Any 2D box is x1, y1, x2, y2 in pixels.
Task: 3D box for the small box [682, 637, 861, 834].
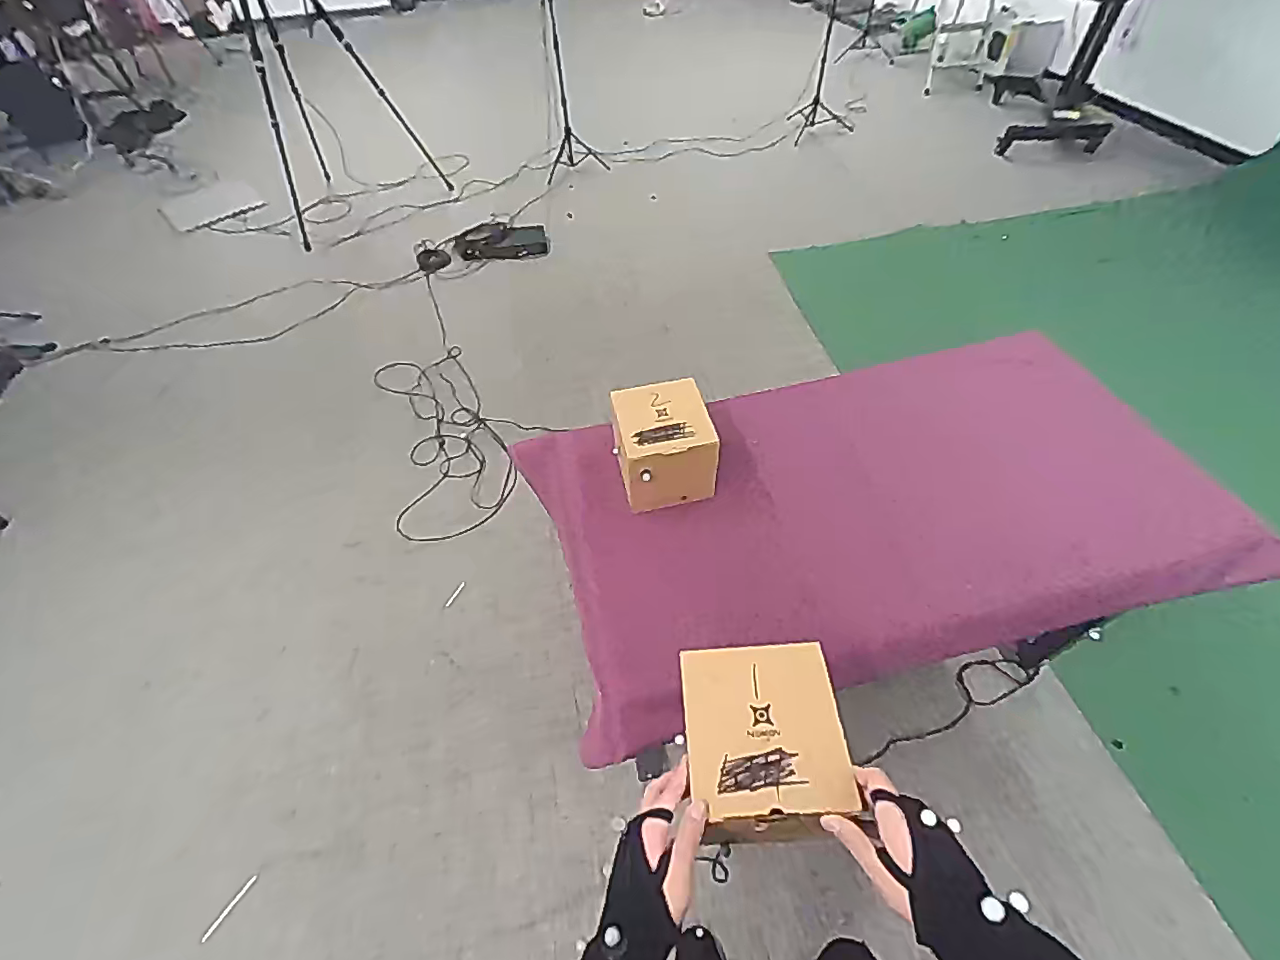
[{"bbox_3d":[0.141,0.306,0.639,0.168,0.176,0.179,-5,48,3],"label":"small box"}]
